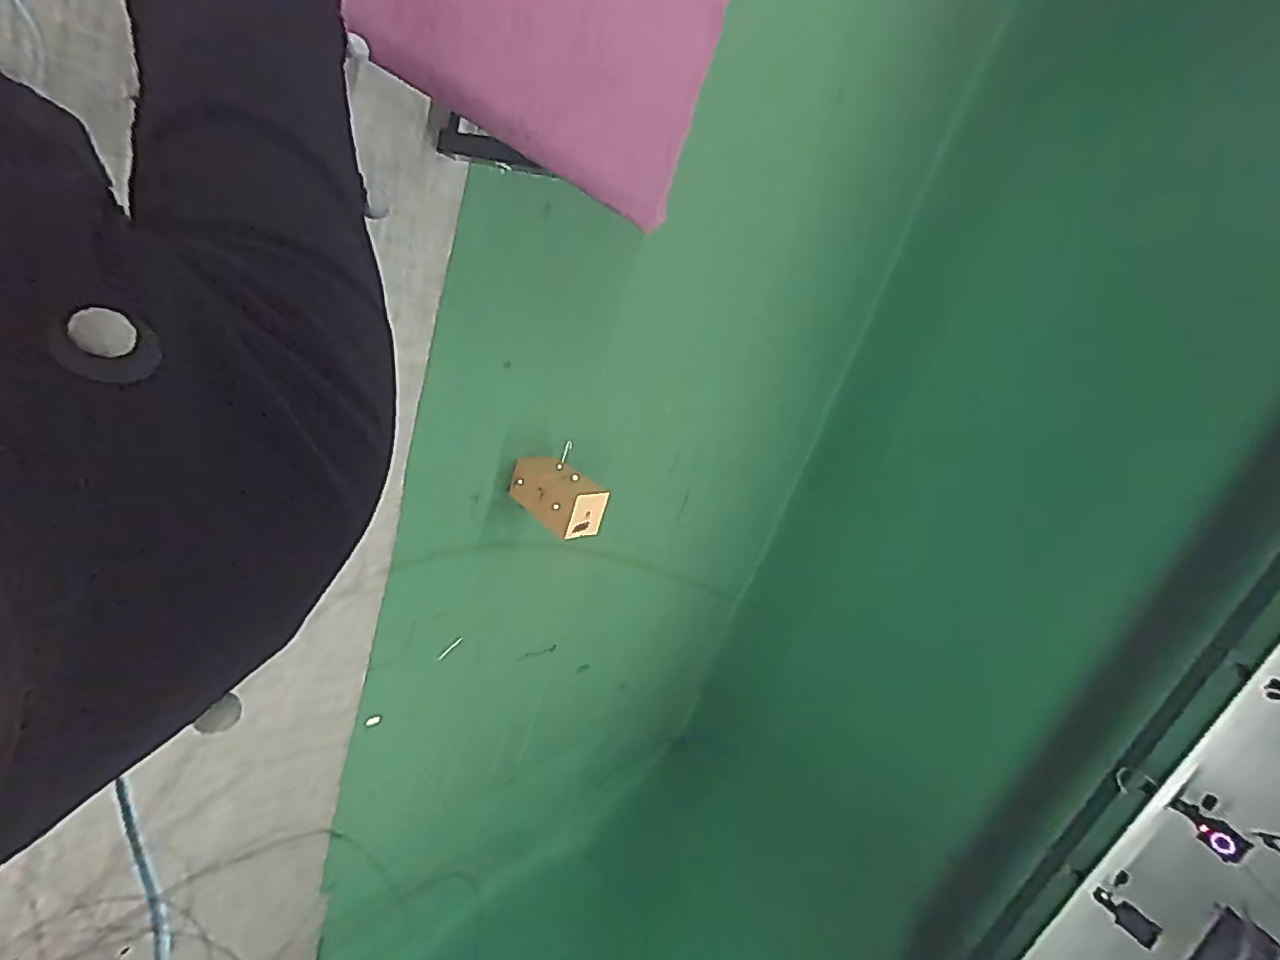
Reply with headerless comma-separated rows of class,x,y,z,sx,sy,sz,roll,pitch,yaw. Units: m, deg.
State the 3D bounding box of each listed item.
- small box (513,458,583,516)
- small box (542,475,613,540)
small box,-0.352,0.021,2.053,0.179,0.176,0.168,-3,117,-51
small box,-0.233,0.097,1.963,0.168,0.176,0.179,-1,117,-53
